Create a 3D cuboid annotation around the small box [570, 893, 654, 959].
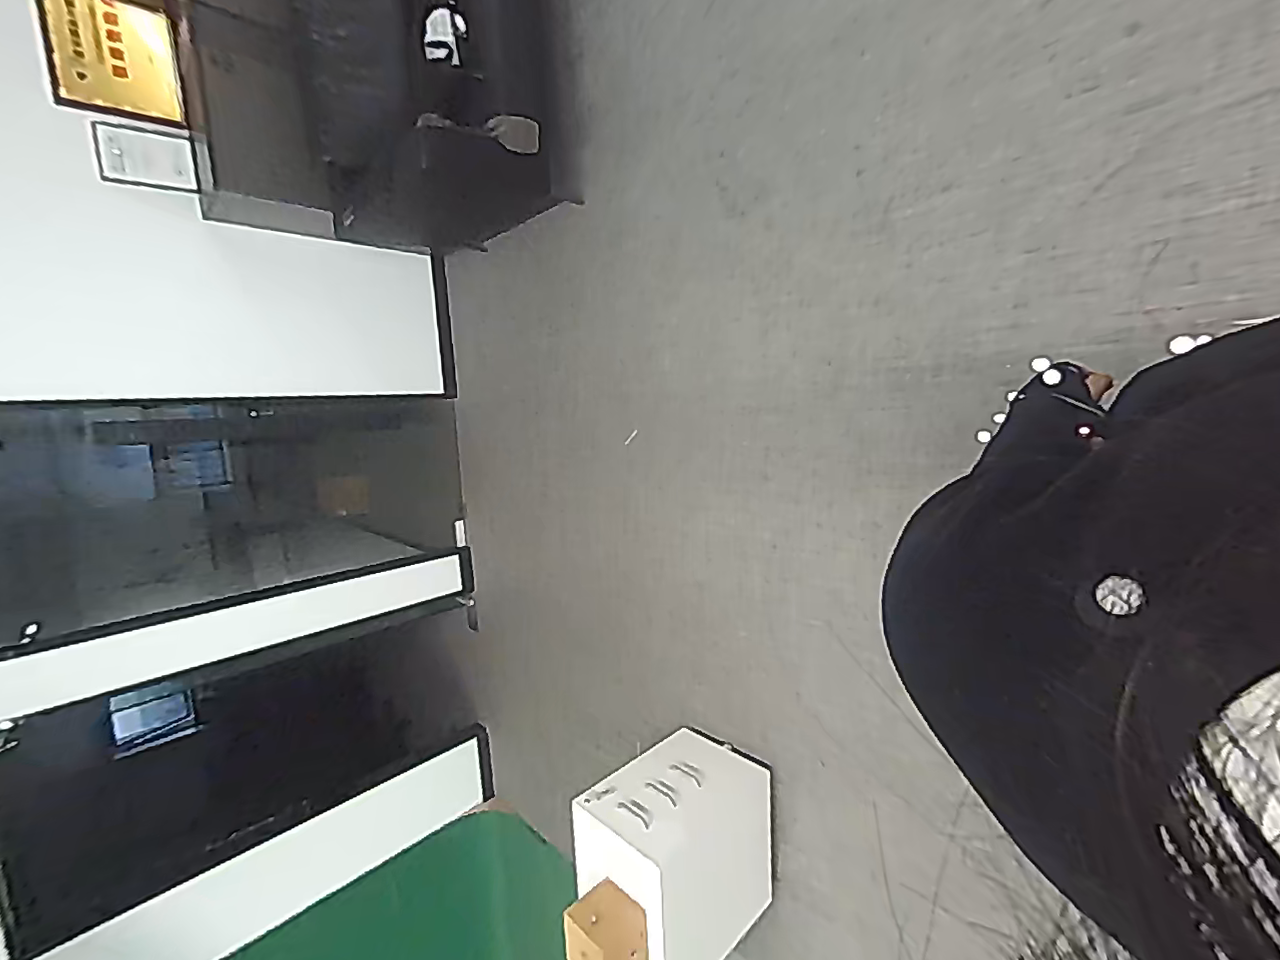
[{"bbox_3d":[-0.078,1.325,1.530,0.179,0.176,0.168,2,98,46],"label":"small box"}]
